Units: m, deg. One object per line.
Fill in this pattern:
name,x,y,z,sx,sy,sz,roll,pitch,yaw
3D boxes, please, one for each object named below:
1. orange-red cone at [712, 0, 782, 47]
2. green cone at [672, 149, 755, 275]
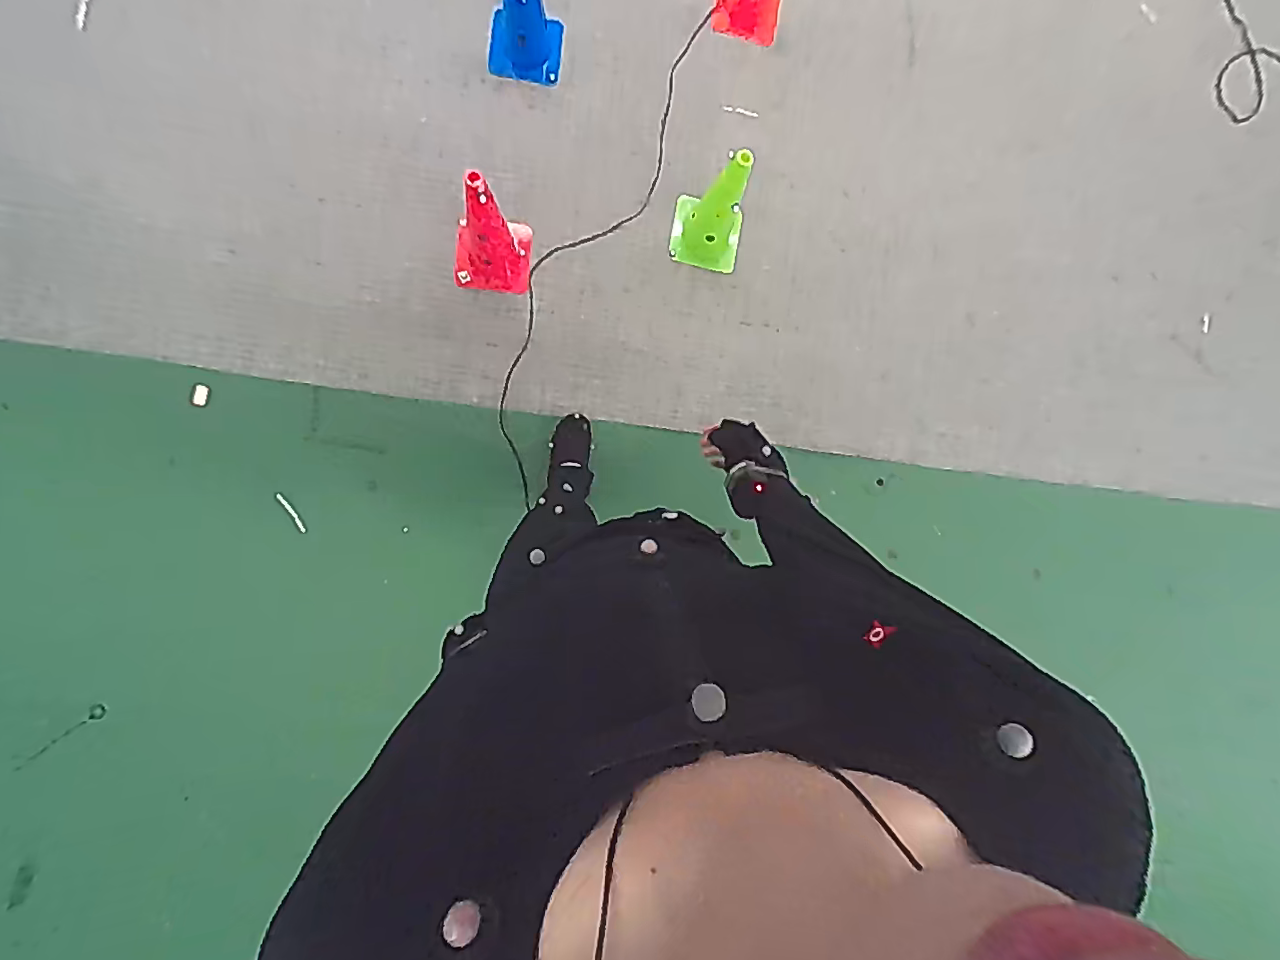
orange-red cone,0.347,-1.441,1.482,0.198,0.360,0.199,12,86,-6
green cone,0.224,-0.723,1.415,0.200,0.368,0.202,9,84,-7
